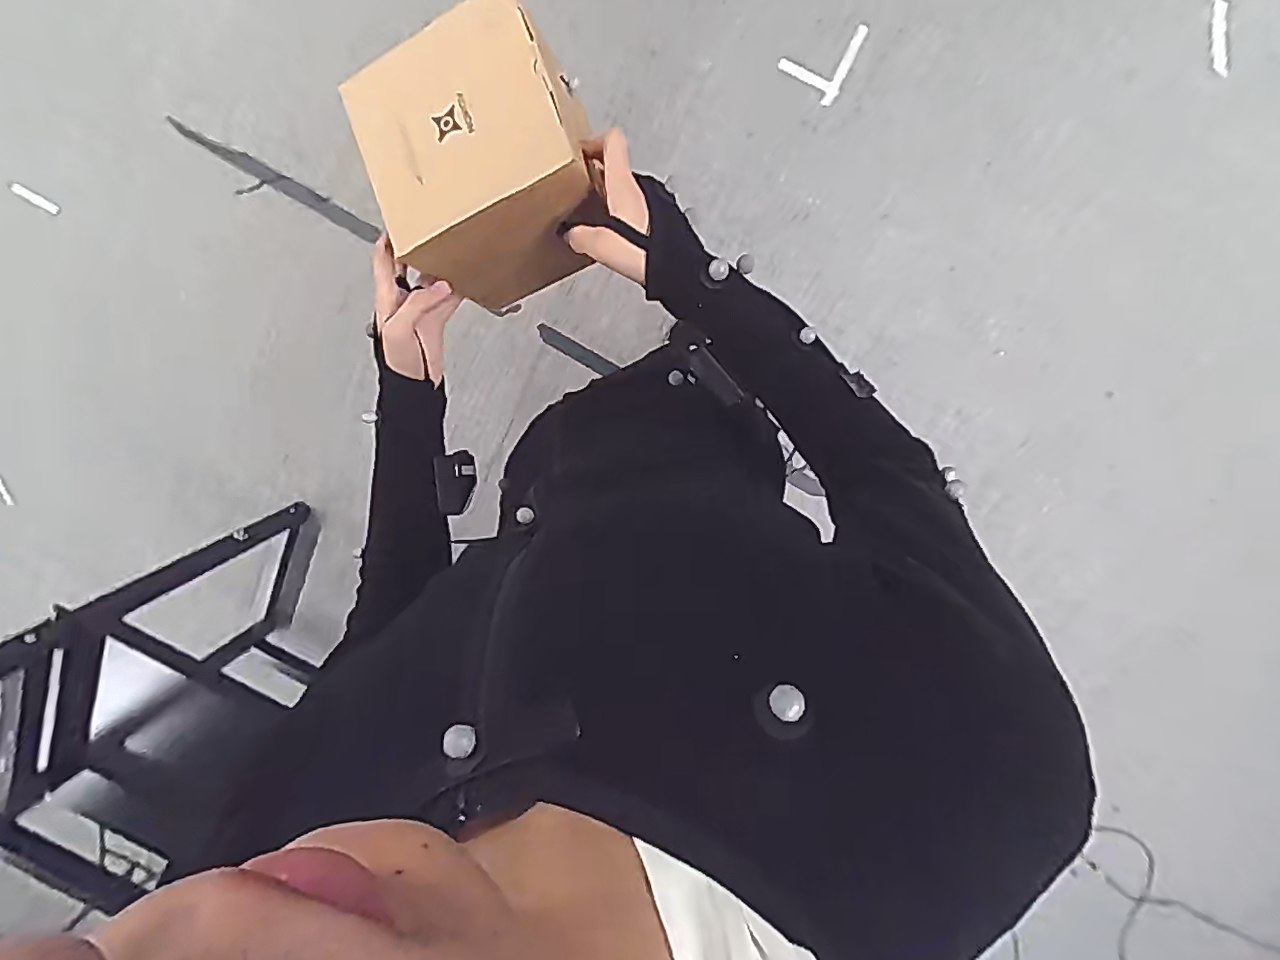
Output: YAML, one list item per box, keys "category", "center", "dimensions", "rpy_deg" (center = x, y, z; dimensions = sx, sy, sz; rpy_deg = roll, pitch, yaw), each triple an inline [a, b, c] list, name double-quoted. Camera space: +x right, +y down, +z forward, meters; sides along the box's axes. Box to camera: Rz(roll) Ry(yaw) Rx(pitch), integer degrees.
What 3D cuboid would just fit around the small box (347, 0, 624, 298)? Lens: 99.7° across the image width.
- category: "small box"
  center: [-0.126, -0.300, 0.511]
  dimensions: [0.179, 0.176, 0.168]
  rpy_deg: [-19, 86, 14]
